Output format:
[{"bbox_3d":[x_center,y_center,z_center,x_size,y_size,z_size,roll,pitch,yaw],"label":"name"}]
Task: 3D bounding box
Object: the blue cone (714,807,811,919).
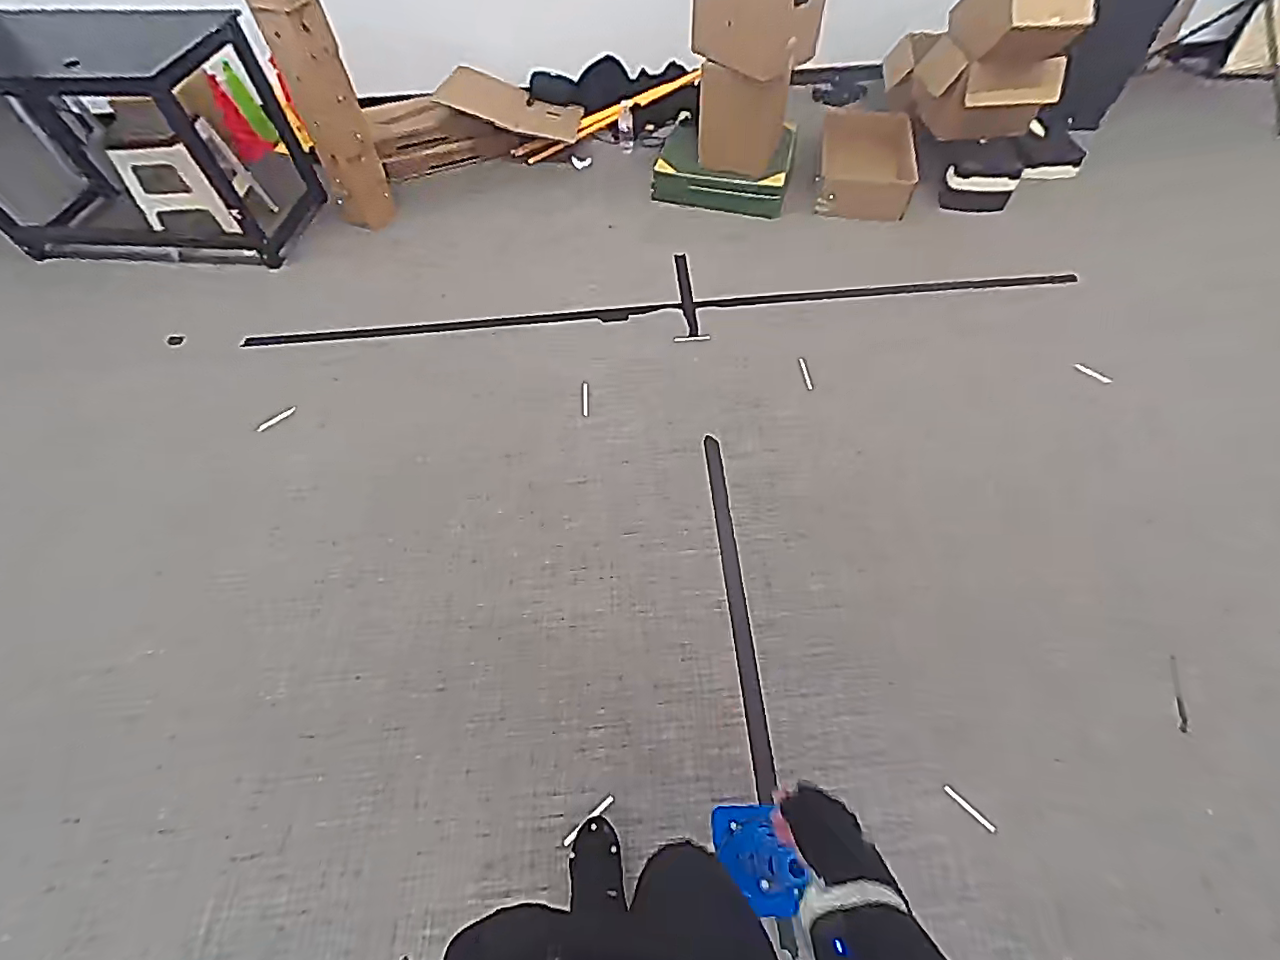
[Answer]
[{"bbox_3d":[0.255,0.723,1.013,0.193,0.380,0.192,-2,57,1],"label":"blue cone"}]
